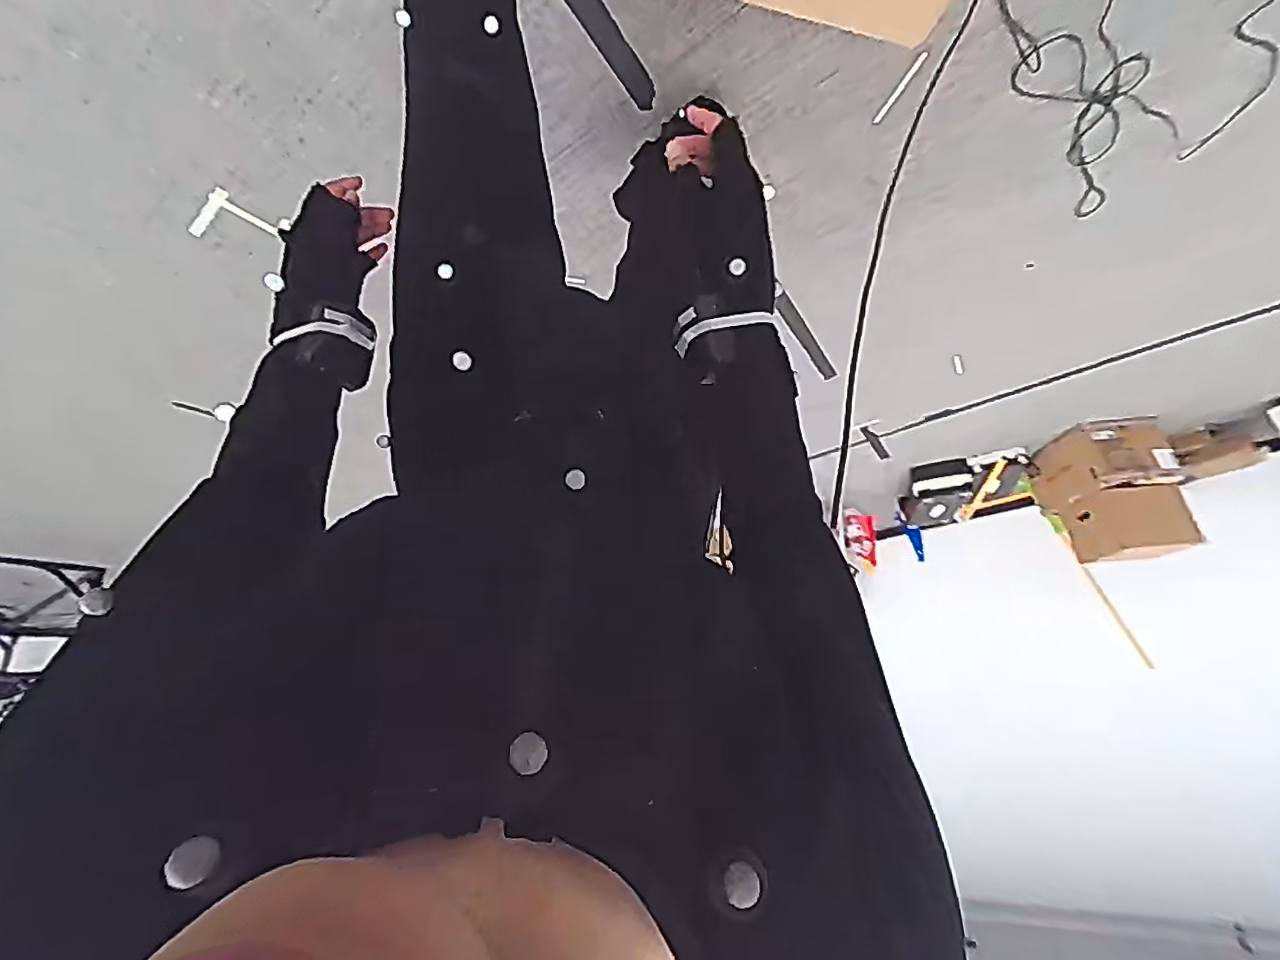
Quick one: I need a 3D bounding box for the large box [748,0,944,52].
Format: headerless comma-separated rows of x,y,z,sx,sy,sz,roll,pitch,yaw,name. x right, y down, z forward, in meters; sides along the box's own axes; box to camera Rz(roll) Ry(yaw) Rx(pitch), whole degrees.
0.206,-0.772,0.585,0.408,0.320,0.320,4,163,-16,large box
